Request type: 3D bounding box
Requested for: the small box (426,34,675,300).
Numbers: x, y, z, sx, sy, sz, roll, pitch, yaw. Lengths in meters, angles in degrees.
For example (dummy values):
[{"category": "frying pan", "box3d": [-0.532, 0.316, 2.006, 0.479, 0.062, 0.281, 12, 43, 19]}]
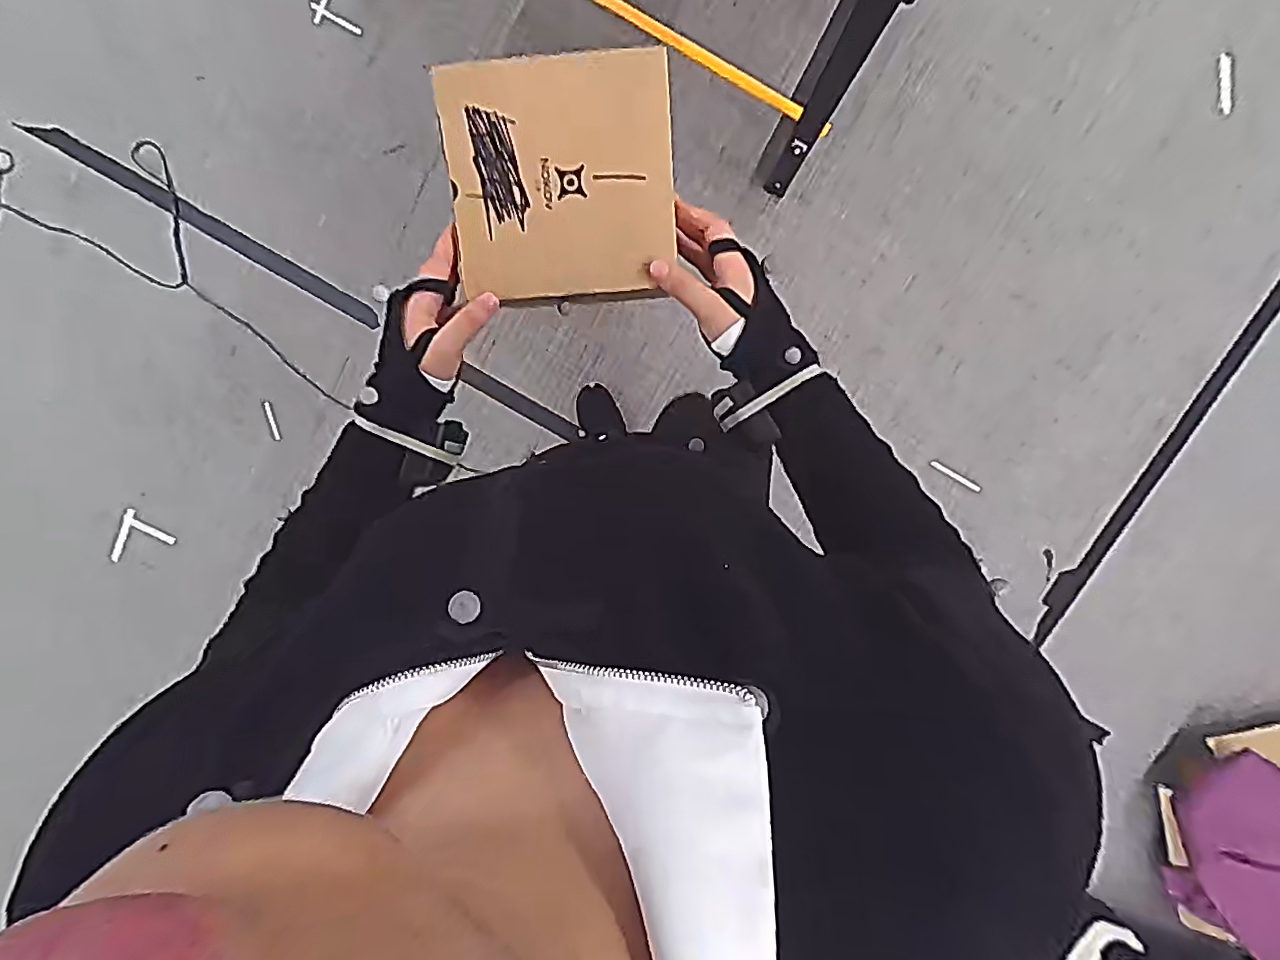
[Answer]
[{"category": "small box", "box3d": [-0.062, -0.253, 0.480, 0.179, 0.176, 0.168, -3, 107, 1]}]
